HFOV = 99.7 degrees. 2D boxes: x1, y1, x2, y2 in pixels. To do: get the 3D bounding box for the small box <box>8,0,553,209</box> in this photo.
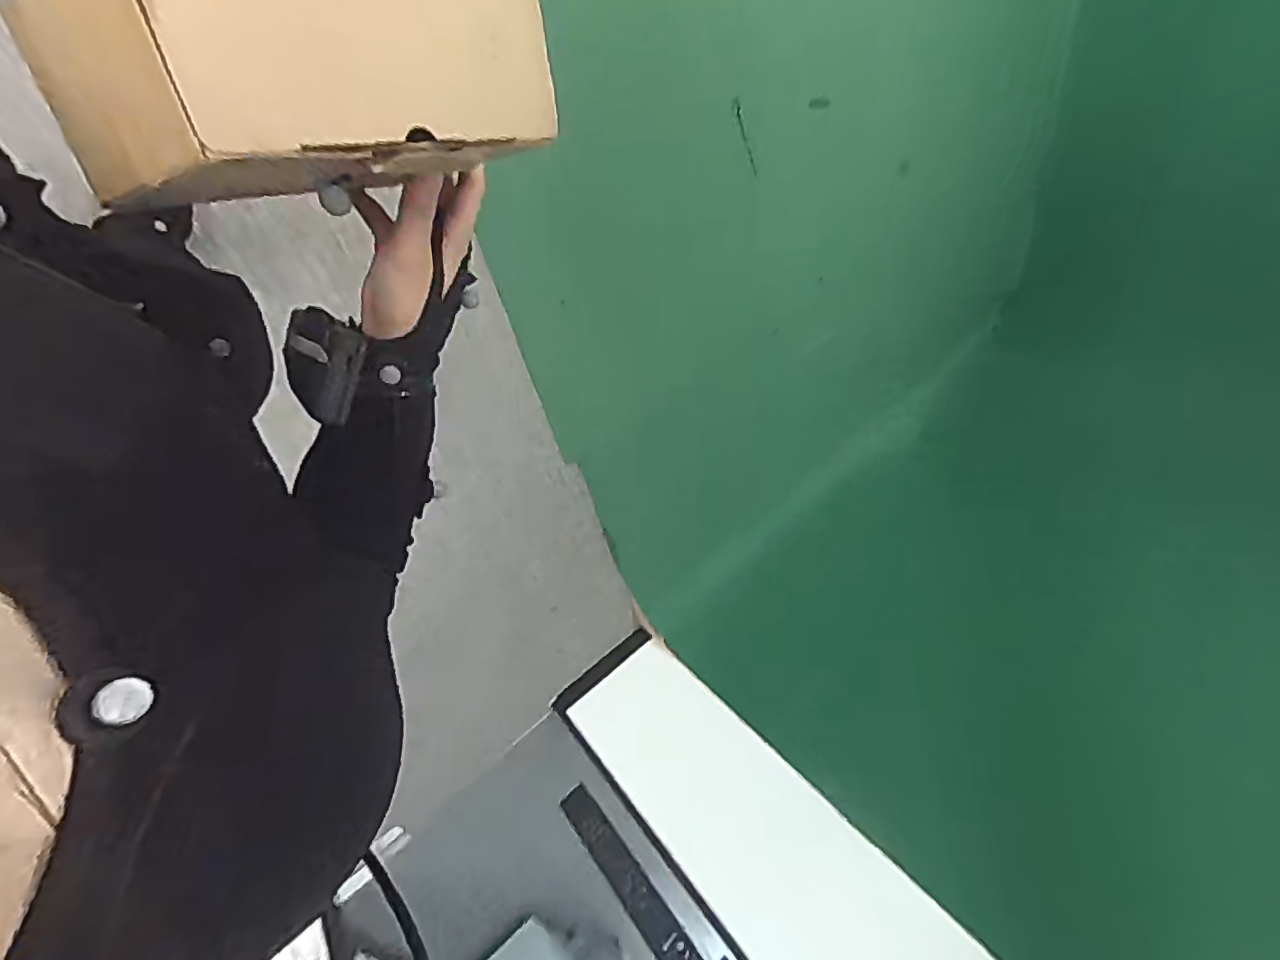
[{"bbox_3d":[-0.168,-0.228,0.249,0.168,0.176,0.179,-34,128,-42],"label":"small box"}]
